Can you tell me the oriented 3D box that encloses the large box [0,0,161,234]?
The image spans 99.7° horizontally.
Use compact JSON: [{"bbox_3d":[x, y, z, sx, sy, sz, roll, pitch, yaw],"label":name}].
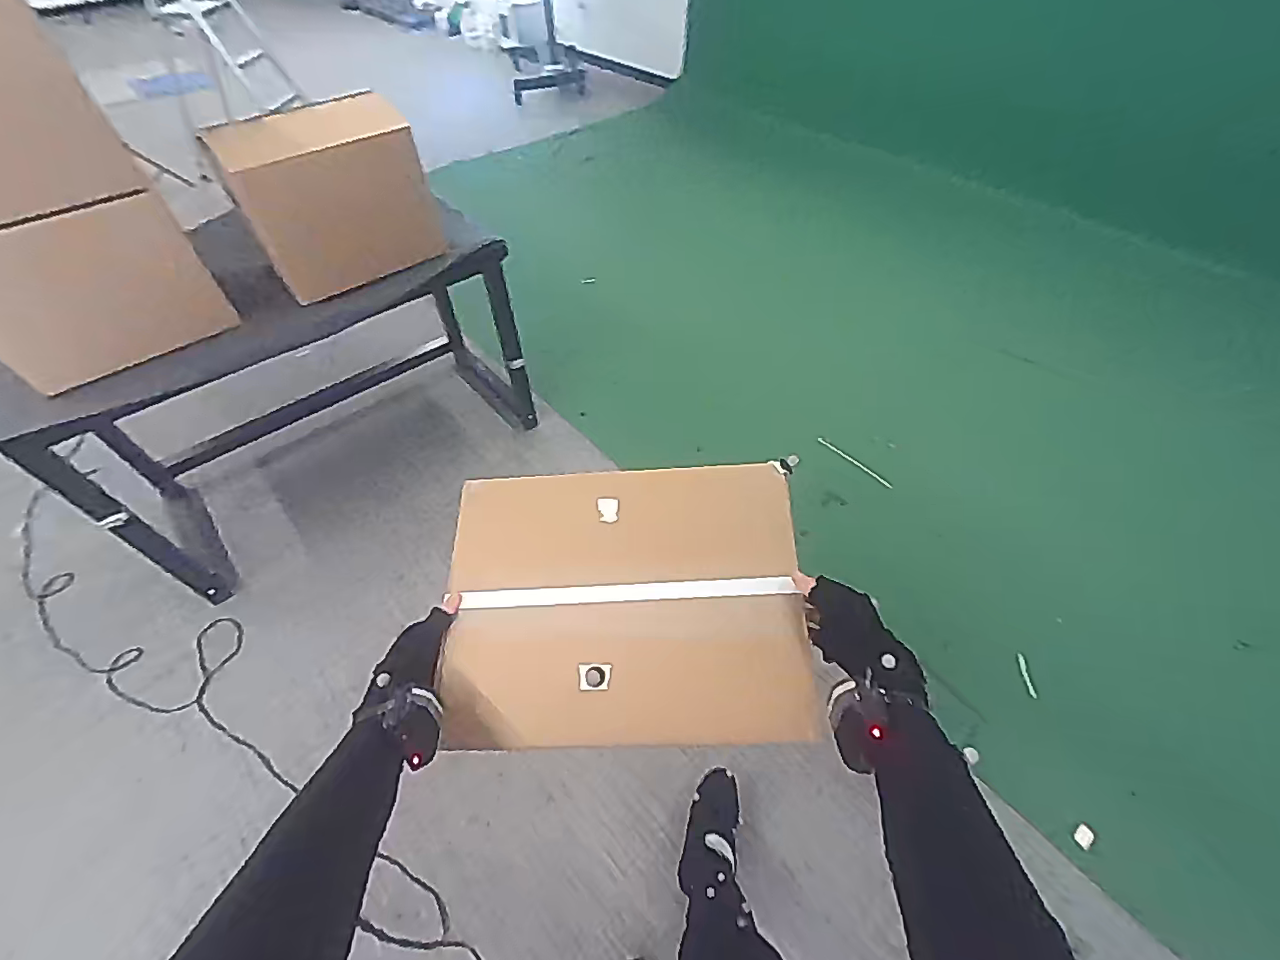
[{"bbox_3d":[-1.191,-0.653,0.942,0.408,0.320,0.320,-34,58,-24],"label":"large box"}]
